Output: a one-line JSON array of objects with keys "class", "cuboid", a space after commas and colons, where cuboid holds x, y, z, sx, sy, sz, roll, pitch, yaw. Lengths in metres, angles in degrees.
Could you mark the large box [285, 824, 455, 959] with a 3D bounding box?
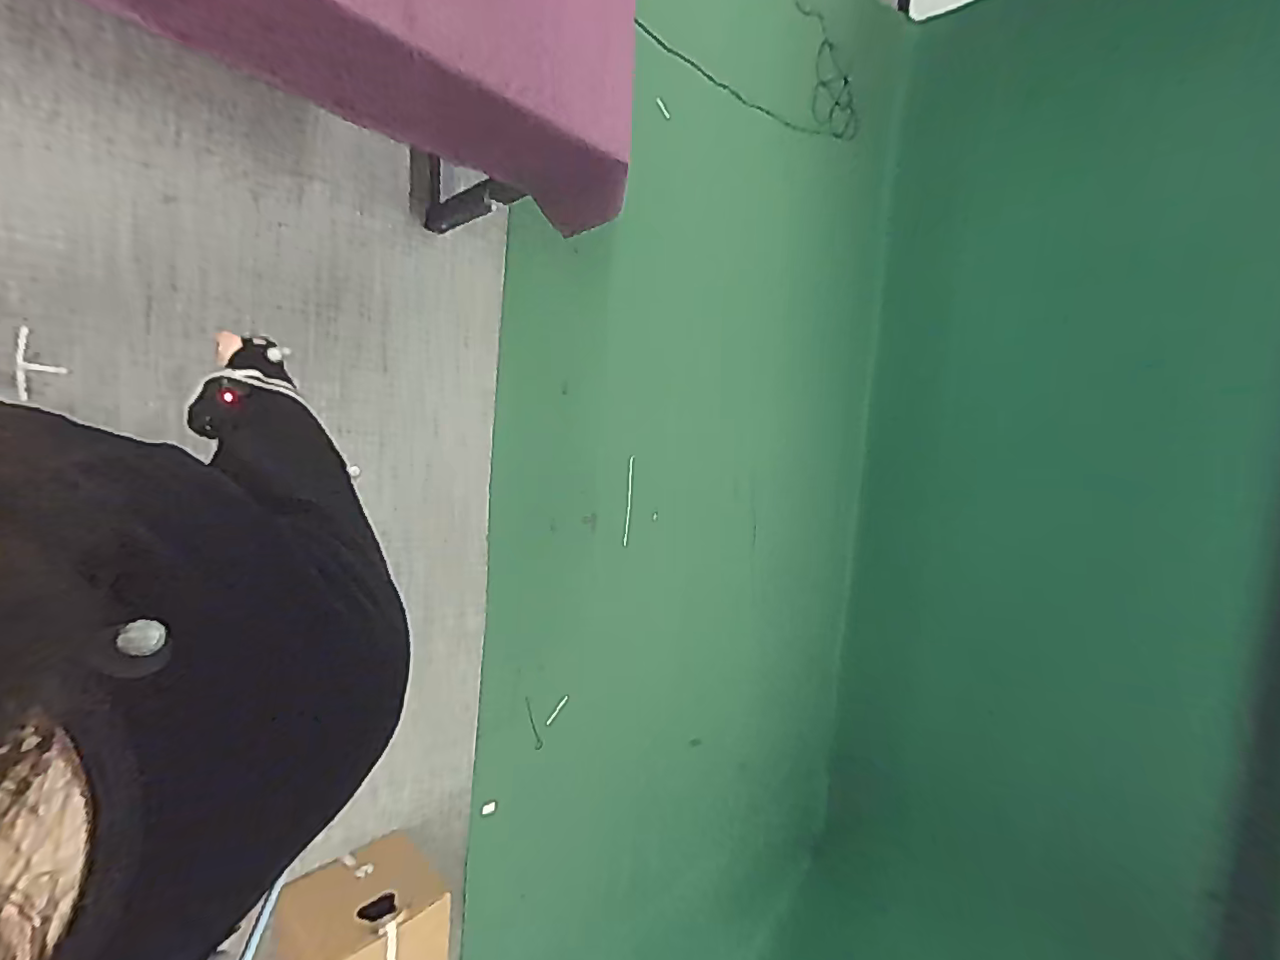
[{"class": "large box", "cuboid": [-0.714, 1.239, 1.429, 0.320, 0.320, 0.408, -2, 98, -48]}]
